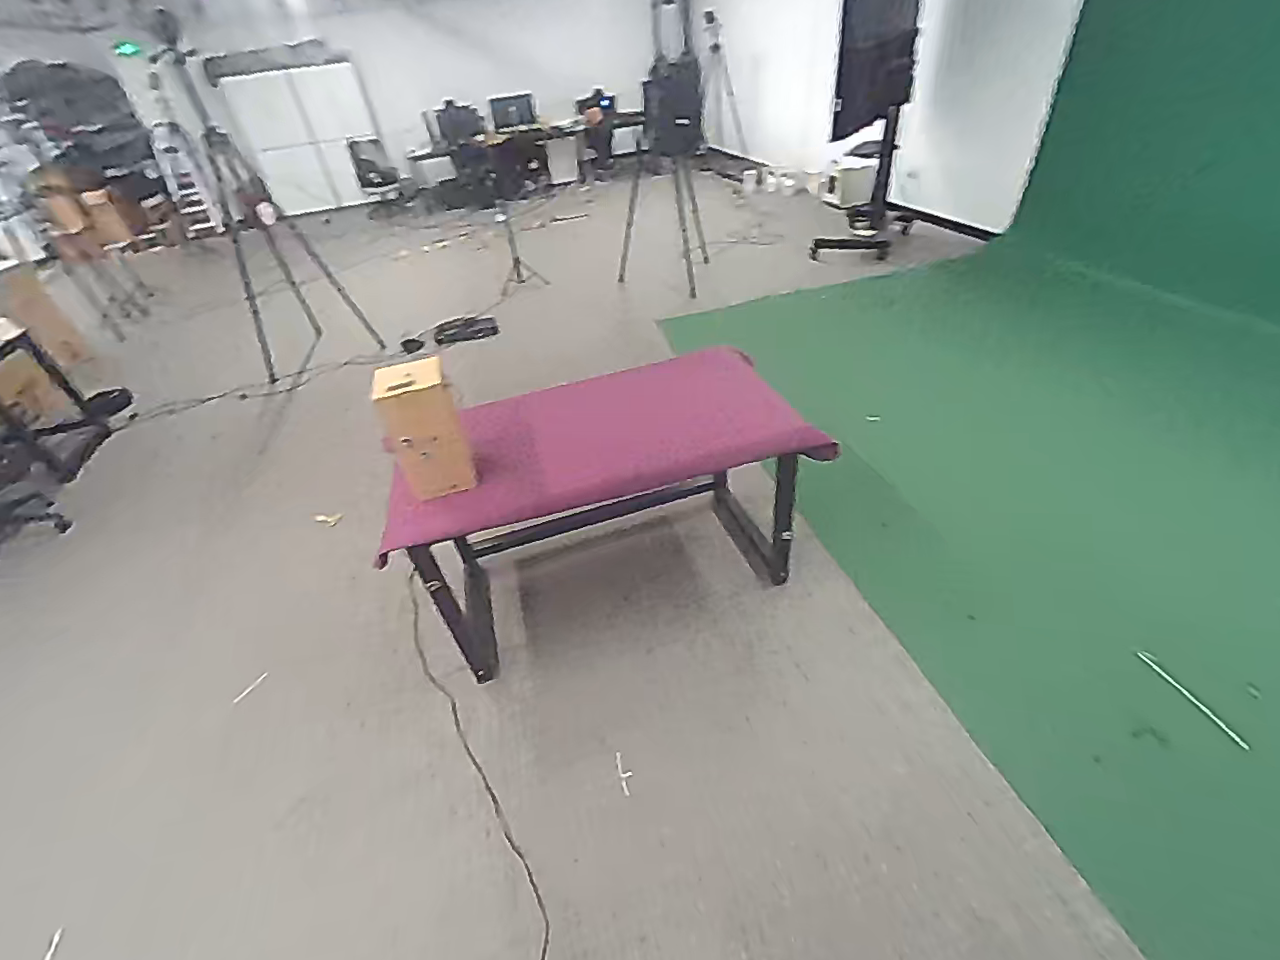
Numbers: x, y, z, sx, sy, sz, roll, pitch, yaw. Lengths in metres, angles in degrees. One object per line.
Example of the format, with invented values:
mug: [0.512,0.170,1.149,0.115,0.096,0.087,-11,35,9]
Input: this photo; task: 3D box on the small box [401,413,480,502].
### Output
small box: [-0.562,-0.065,1.536,0.168,0.176,0.179,-16,39,-9]

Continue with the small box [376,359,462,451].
small box: [-0.578,-0.193,1.433,0.168,0.176,0.179,-15,39,-10]
